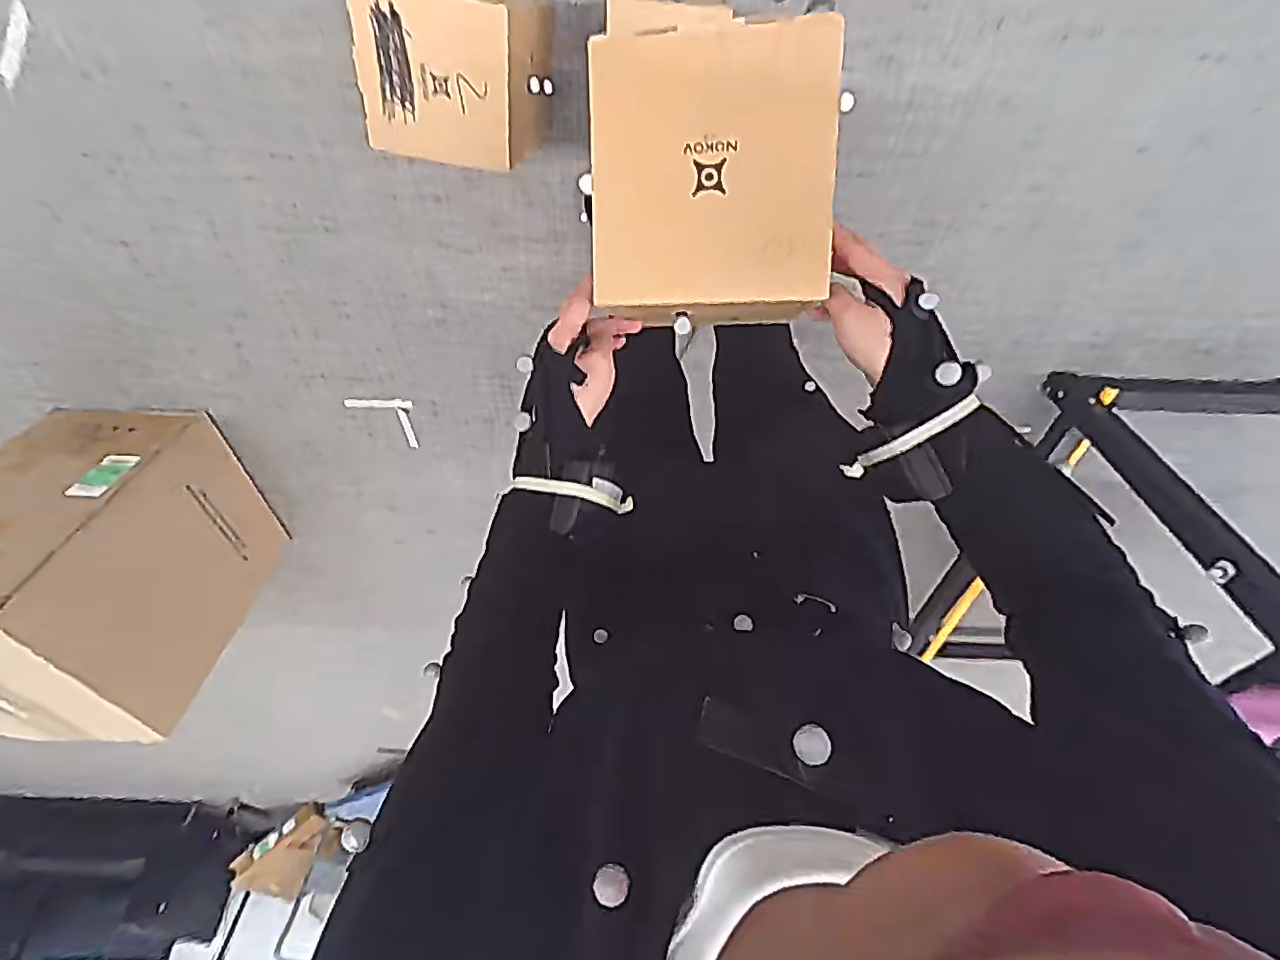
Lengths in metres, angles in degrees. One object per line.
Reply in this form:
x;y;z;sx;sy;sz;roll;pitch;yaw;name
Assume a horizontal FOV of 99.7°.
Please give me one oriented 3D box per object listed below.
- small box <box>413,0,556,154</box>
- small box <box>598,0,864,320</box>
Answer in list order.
-0.221;-0.619;0.804;0.168;0.176;0.179;9;134;-5;small box
0.066;-0.223;0.427;0.168;0.176;0.179;1;100;8;small box
